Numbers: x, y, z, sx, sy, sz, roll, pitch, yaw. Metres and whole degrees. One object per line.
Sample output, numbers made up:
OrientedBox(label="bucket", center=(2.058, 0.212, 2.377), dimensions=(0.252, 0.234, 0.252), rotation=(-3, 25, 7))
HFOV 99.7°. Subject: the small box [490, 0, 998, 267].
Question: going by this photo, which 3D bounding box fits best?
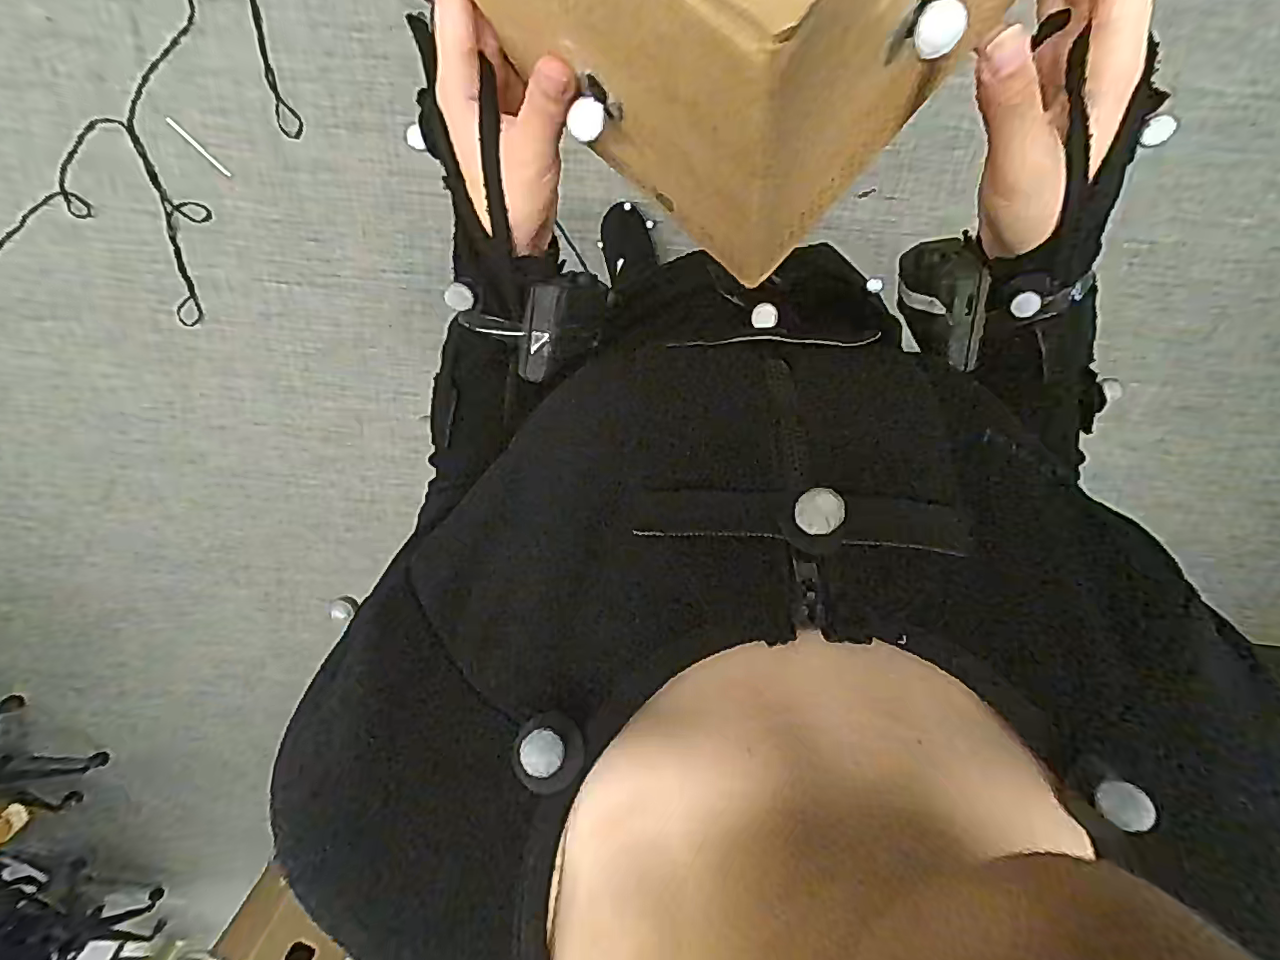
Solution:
OrientedBox(label="small box", center=(0.043, -0.213, 0.197), dimensions=(0.168, 0.176, 0.179), rotation=(43, 100, 6))
